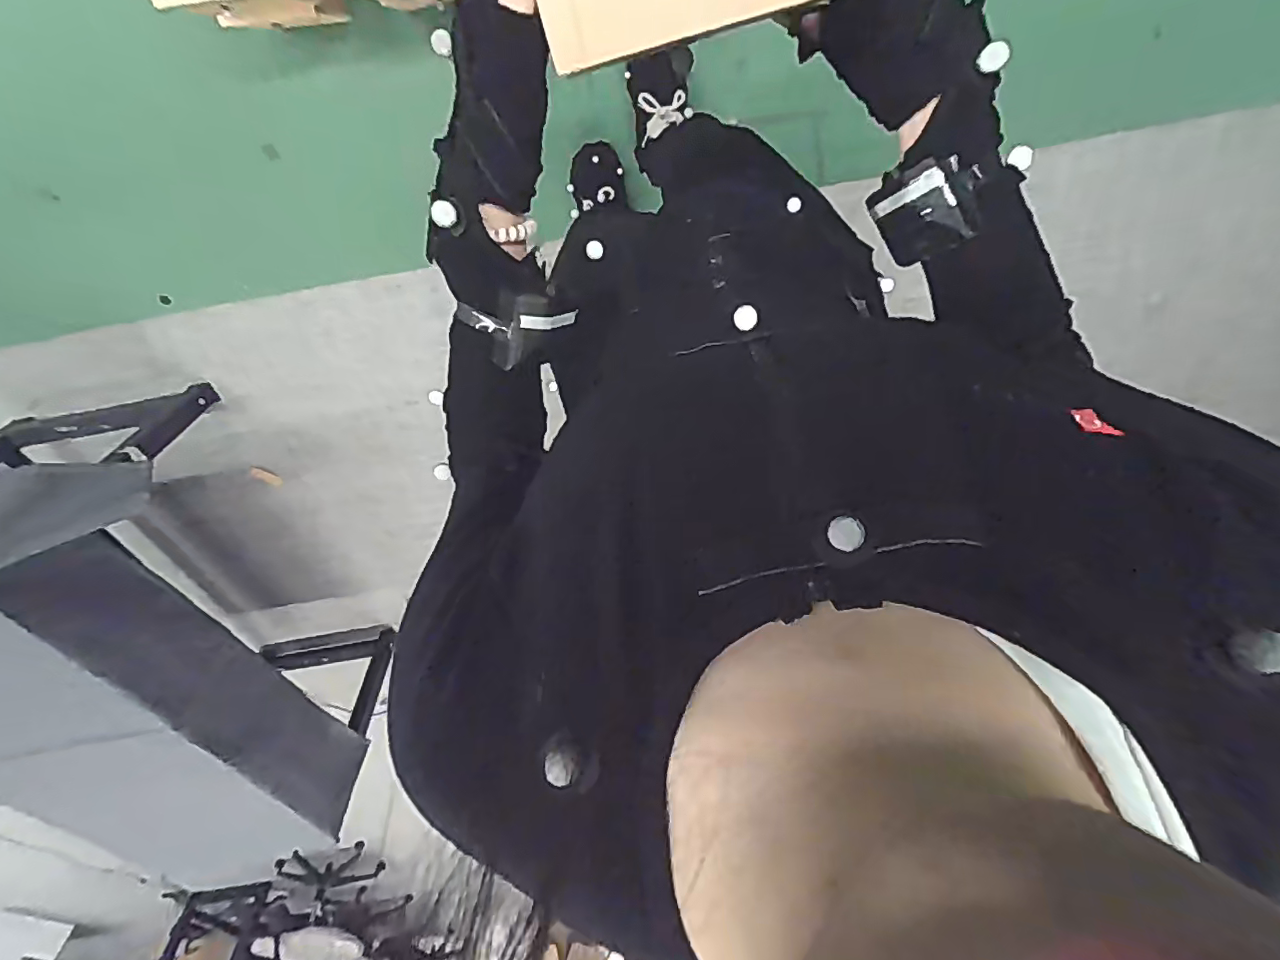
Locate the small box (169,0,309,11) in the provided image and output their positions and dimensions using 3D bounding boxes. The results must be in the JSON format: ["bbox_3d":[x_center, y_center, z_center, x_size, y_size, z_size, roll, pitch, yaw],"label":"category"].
[{"bbox_3d":[-0.609,-0.792,0.772,0.179,0.176,0.168,-6,128,0],"label":"small box"}]

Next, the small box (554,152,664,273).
[{"bbox_3d":[-0.073,-0.593,1.200,0.179,0.176,0.168,31,130,-5],"label":"small box"}]

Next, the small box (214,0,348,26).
[{"bbox_3d":[-0.627,-0.883,0.909,0.168,0.176,0.179,-5,128,0],"label":"small box"}]
